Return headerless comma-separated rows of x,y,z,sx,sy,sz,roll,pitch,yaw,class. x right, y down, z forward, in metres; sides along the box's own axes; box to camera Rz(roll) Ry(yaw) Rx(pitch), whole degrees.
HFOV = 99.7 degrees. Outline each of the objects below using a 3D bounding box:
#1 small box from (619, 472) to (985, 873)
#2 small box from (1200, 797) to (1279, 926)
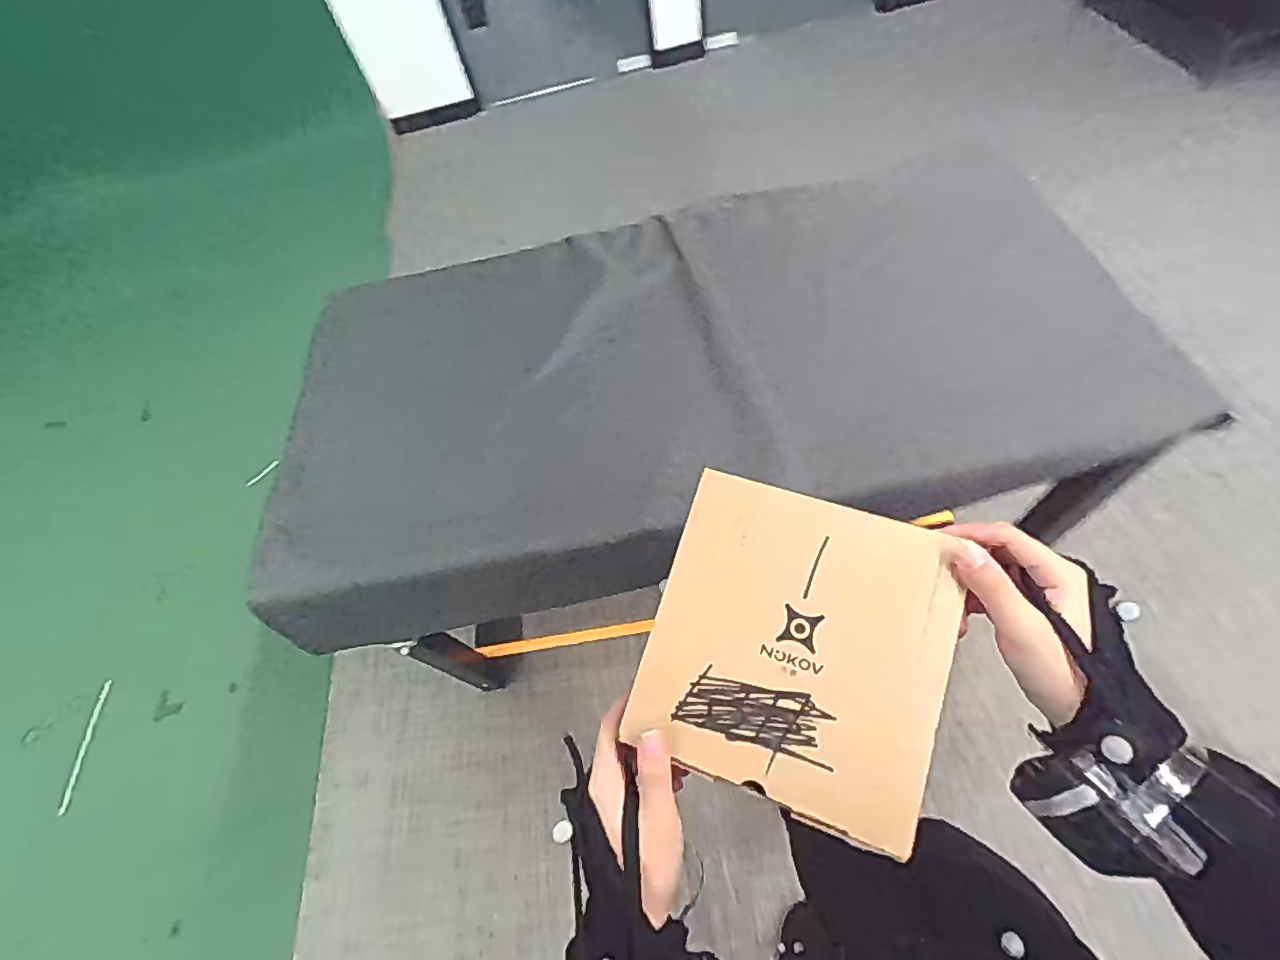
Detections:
0.106,0.119,0.385,0.168,0.176,0.179,18,78,15,small box
1.103,0.627,0.882,0.168,0.176,0.179,-9,59,5,small box
